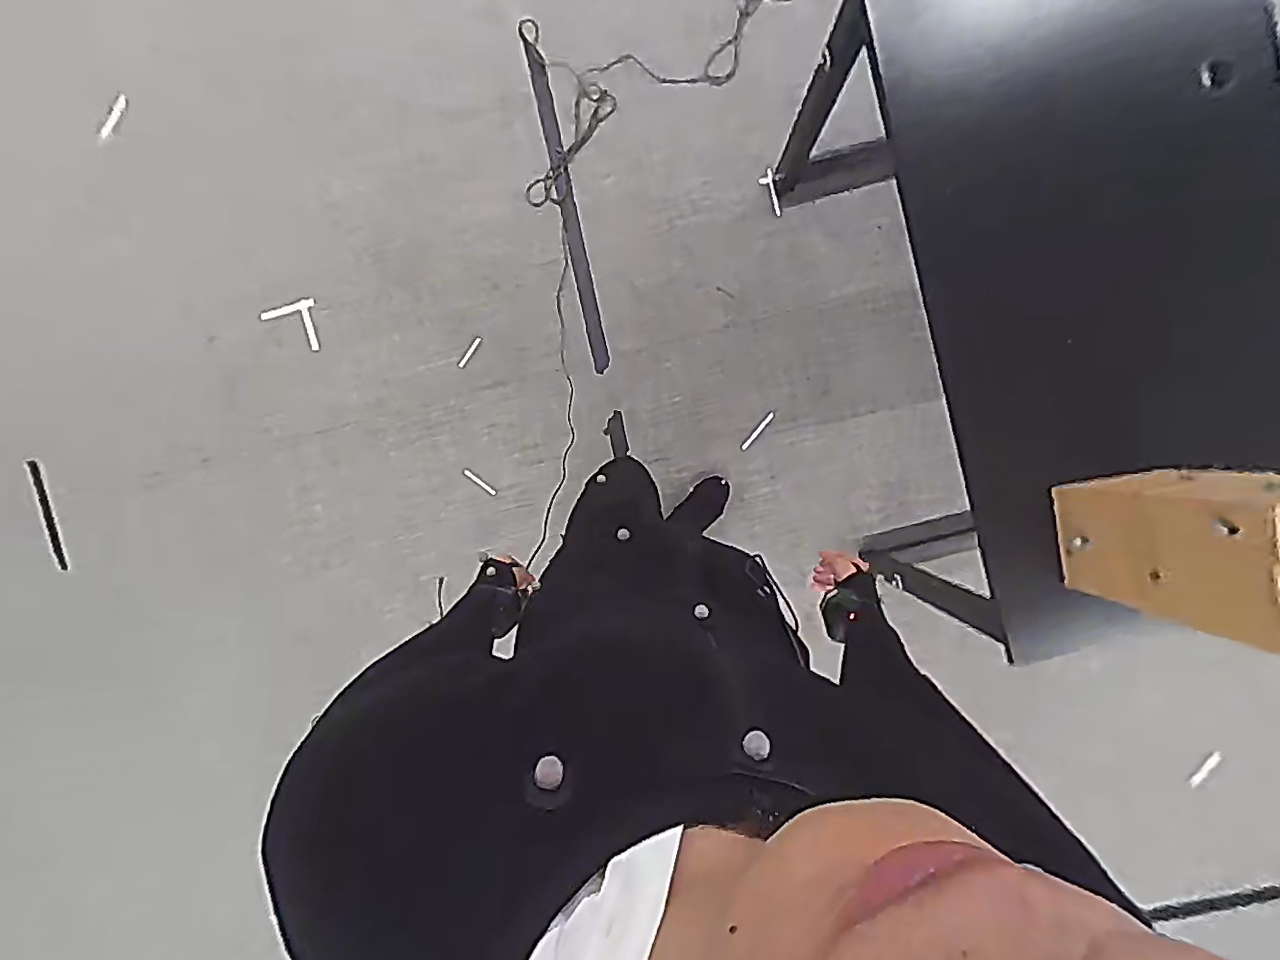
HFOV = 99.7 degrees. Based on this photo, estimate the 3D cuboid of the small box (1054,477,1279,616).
[{"bbox_3d":[0.765,0.088,0.796,0.179,0.176,0.168,-8,91,2],"label":"small box"}]
